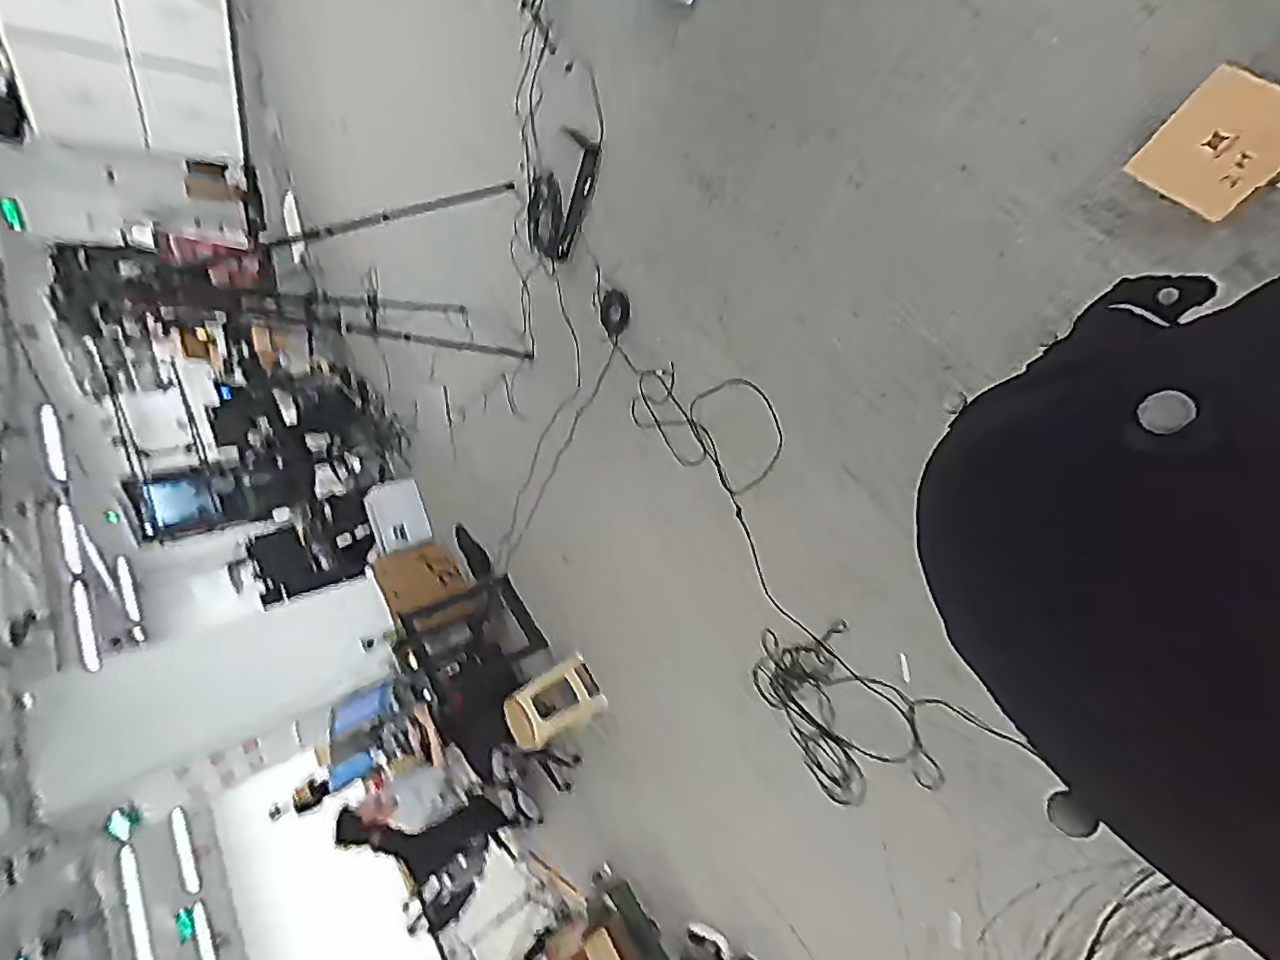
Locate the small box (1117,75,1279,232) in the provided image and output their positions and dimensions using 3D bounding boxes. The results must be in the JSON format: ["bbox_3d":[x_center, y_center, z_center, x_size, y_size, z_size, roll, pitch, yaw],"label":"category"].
[{"bbox_3d":[0.985,-0.545,0.926,0.179,0.176,0.168,53,137,23],"label":"small box"}]
